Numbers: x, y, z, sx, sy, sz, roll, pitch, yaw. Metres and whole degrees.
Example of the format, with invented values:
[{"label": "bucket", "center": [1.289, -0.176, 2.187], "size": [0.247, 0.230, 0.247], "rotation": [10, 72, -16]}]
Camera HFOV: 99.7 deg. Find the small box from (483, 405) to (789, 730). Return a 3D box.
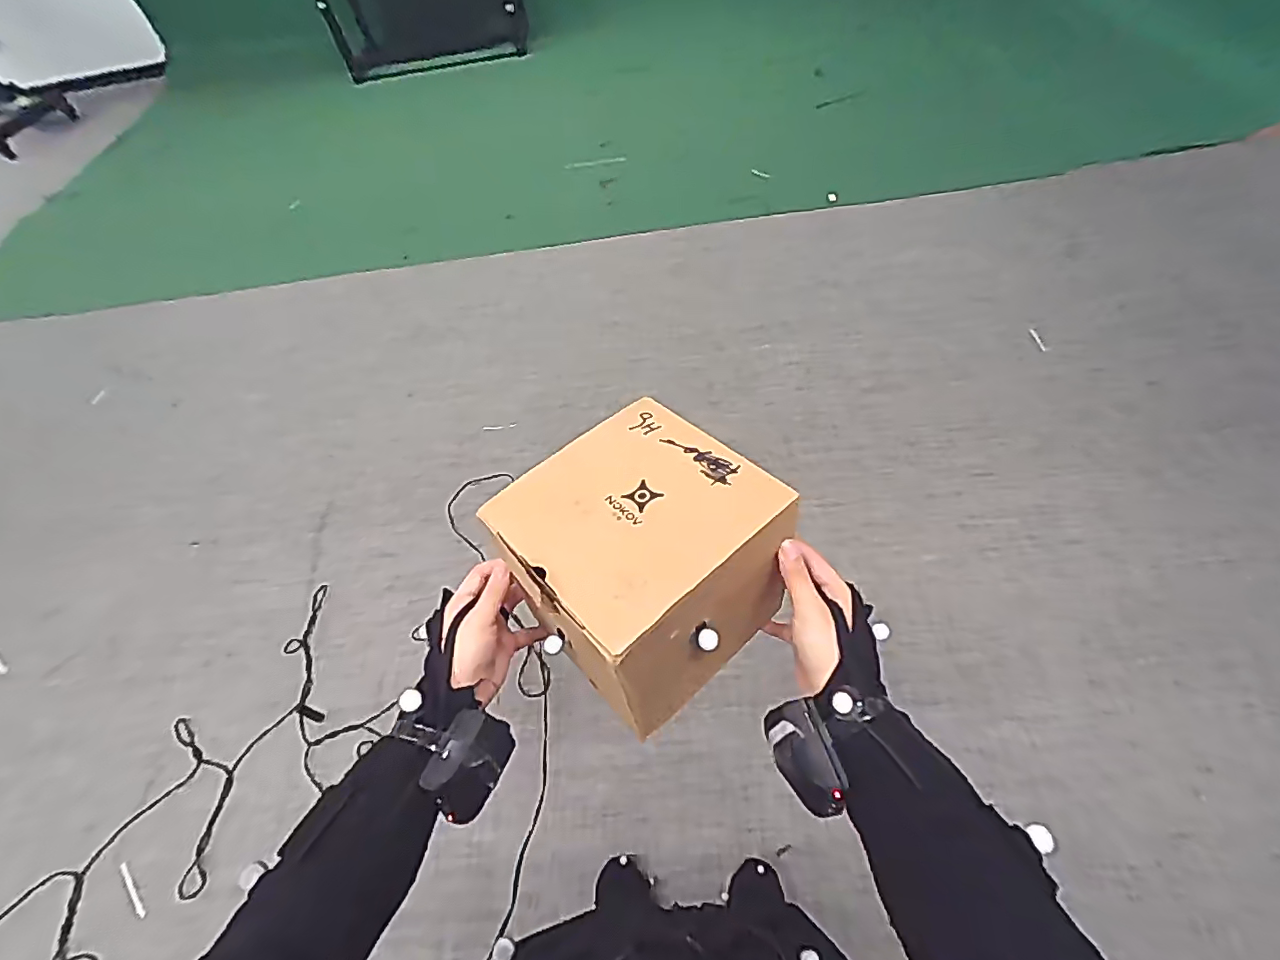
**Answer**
[{"label": "small box", "center": [0.004, 0.075, 0.460], "size": [0.179, 0.176, 0.168], "rotation": [-37, 54, -22]}]
